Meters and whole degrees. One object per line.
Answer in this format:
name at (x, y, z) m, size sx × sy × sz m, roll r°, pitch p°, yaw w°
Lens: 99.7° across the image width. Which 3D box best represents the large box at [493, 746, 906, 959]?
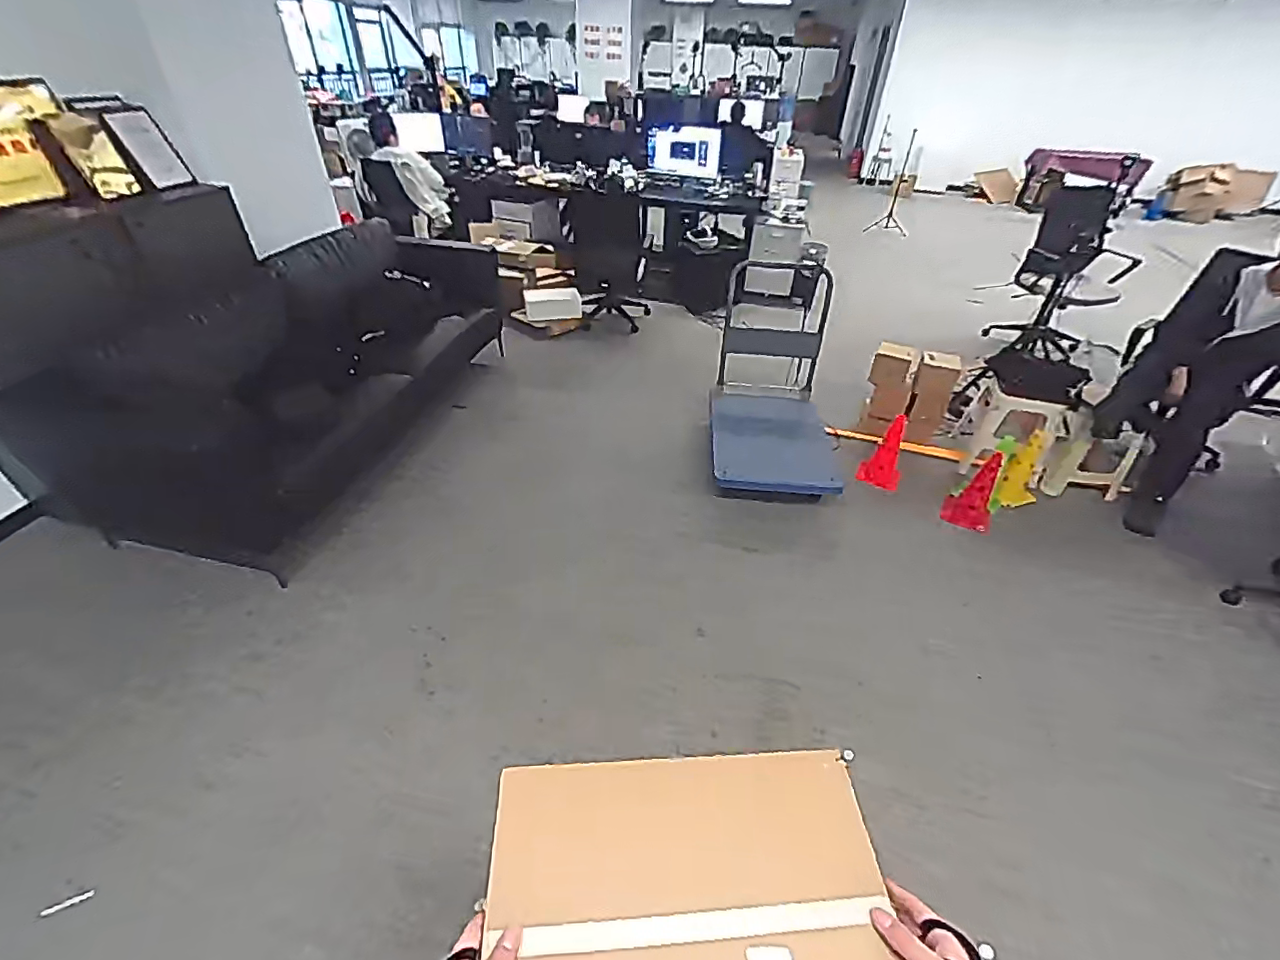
large box at (0.047, 0.547, 0.636) m, size 0.408 × 0.320 × 0.320 m, roll 0°, pitch 43°, yaw -6°
